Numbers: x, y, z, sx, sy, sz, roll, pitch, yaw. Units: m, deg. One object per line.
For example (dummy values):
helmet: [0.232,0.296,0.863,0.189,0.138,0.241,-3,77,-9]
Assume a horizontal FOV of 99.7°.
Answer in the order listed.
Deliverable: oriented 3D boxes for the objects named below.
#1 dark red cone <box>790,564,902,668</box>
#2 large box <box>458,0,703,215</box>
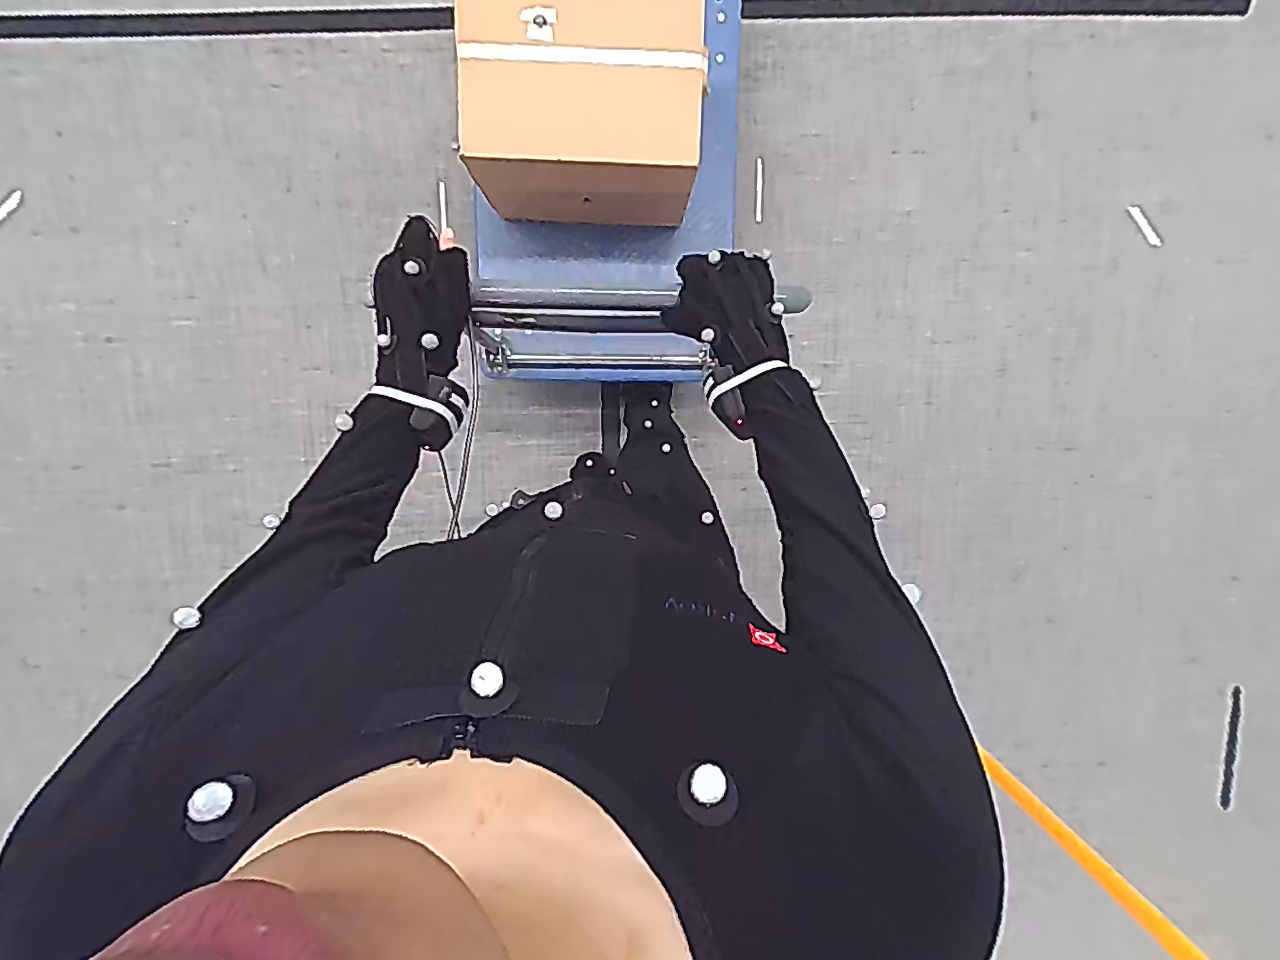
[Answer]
dark red cone: [0.521,0.354,1.326,0.201,0.394,0.202,-1,98,-3]
large box: [-0.099,-0.717,1.032,0.408,0.320,0.320,2,98,-1]
